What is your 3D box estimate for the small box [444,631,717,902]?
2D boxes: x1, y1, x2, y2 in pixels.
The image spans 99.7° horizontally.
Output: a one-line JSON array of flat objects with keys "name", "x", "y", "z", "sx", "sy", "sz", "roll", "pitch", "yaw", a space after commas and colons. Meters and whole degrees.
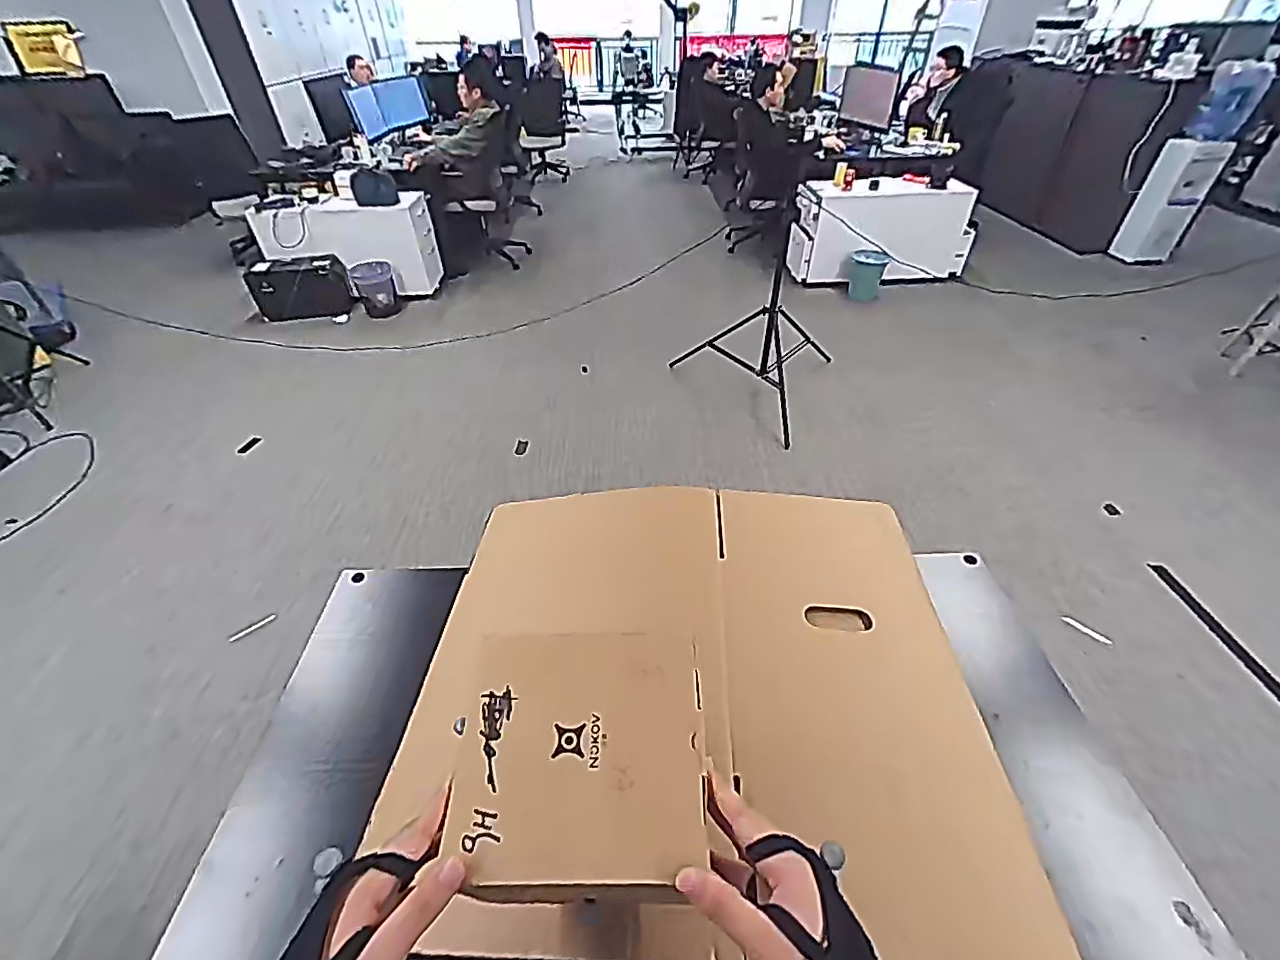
[{"name": "small box", "x": -0.038, "y": 0.241, "z": 0.453, "sx": 0.179, "sy": 0.176, "sz": 0.168, "roll": 0, "pitch": 47, "yaw": 0}]
